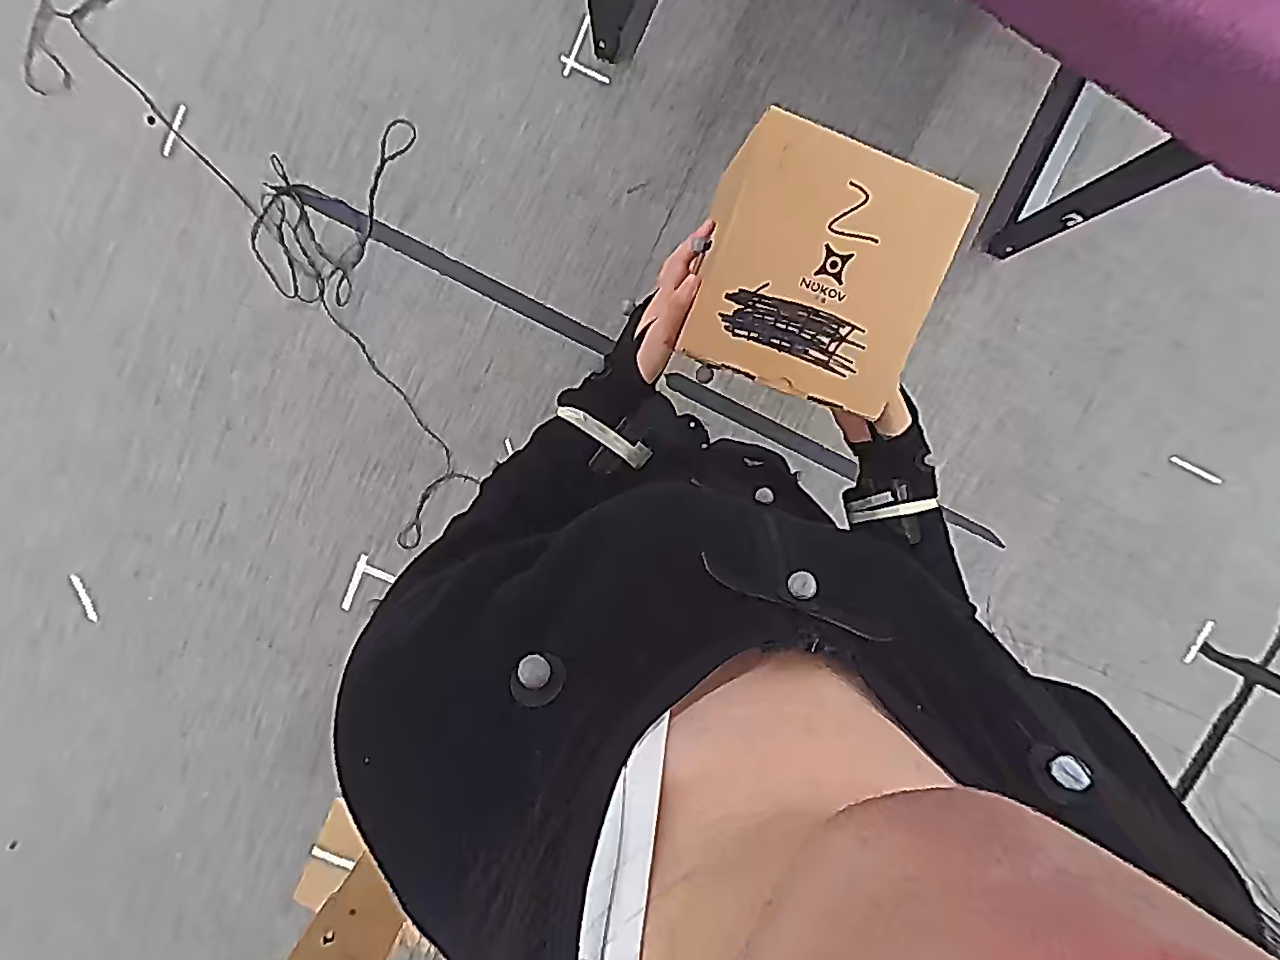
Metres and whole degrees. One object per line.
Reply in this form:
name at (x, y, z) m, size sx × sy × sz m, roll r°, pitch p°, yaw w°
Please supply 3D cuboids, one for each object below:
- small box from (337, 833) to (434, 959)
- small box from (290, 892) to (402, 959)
small box at (-0.597, 0.965, 1.233) m, size 0.168 × 0.176 × 0.179 m, roll 23°, pitch 95°, yaw -2°
small box at (-0.600, 0.976, 1.072) m, size 0.168 × 0.176 × 0.179 m, roll 22°, pitch 97°, yaw -1°
